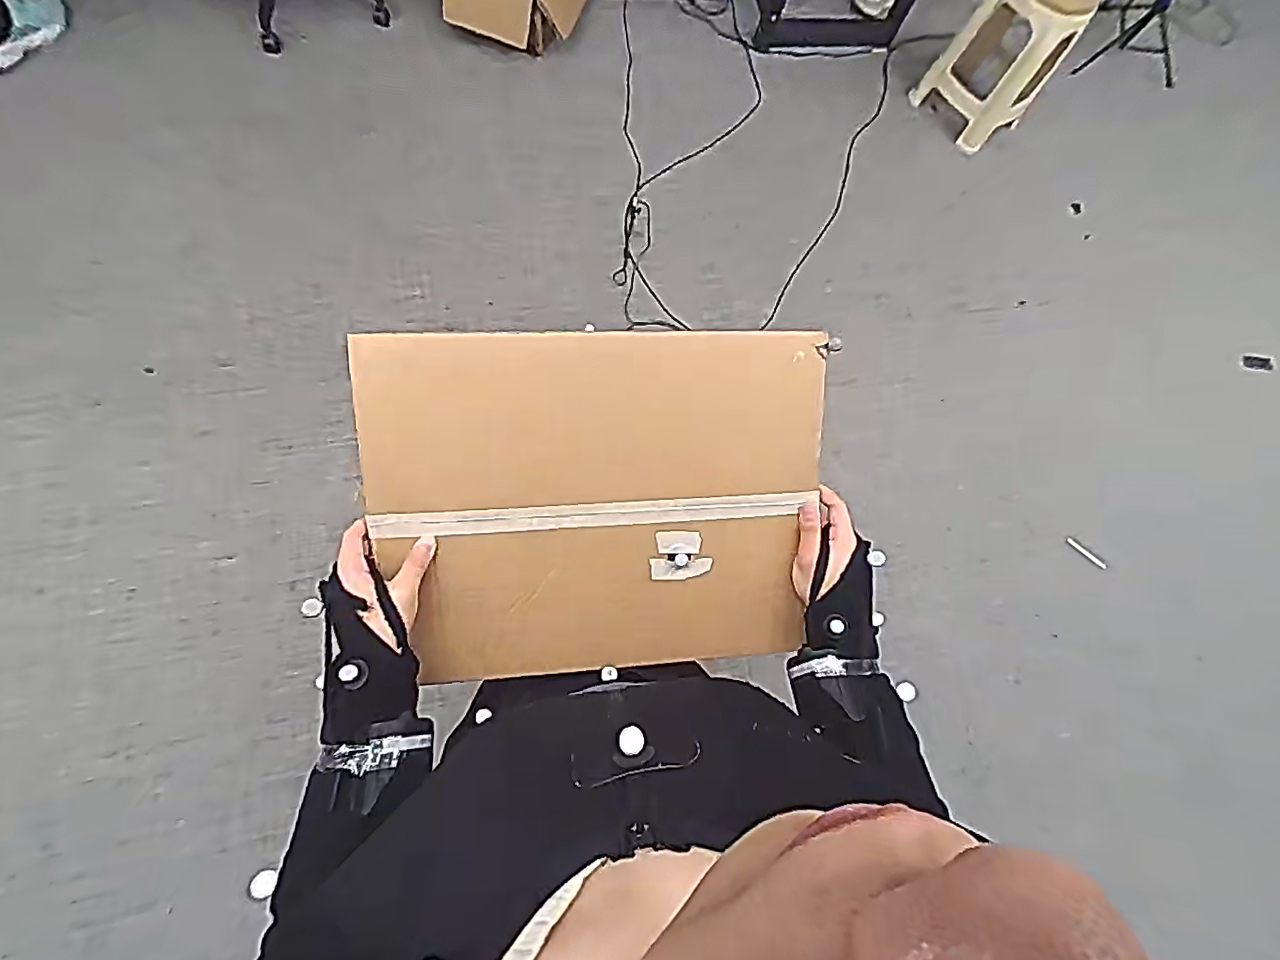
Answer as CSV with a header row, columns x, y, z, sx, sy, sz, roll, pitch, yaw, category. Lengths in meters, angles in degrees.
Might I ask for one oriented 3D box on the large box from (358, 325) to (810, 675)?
x,y,z,sx,sy,sz,roll,pitch,yaw,category
-0.057,-0.011,0.647,0.408,0.320,0.320,-4,104,-9,large box
